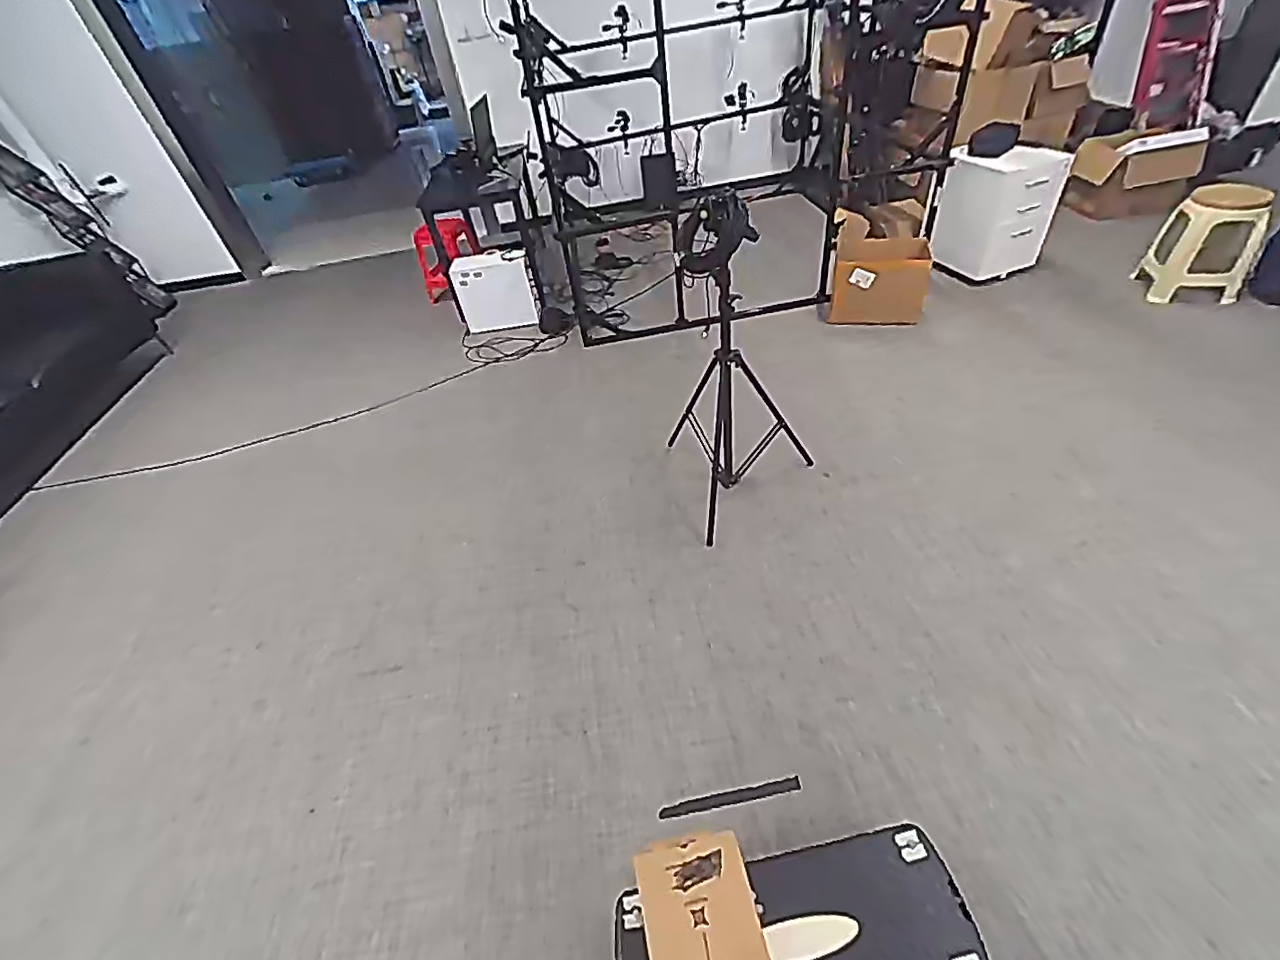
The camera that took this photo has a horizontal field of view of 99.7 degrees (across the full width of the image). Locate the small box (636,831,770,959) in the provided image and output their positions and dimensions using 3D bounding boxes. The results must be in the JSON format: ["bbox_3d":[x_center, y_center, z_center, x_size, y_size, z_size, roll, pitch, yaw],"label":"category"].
[{"bbox_3d":[0.095,0.685,0.841,0.168,0.176,0.179,-13,43,-3],"label":"small box"}]
